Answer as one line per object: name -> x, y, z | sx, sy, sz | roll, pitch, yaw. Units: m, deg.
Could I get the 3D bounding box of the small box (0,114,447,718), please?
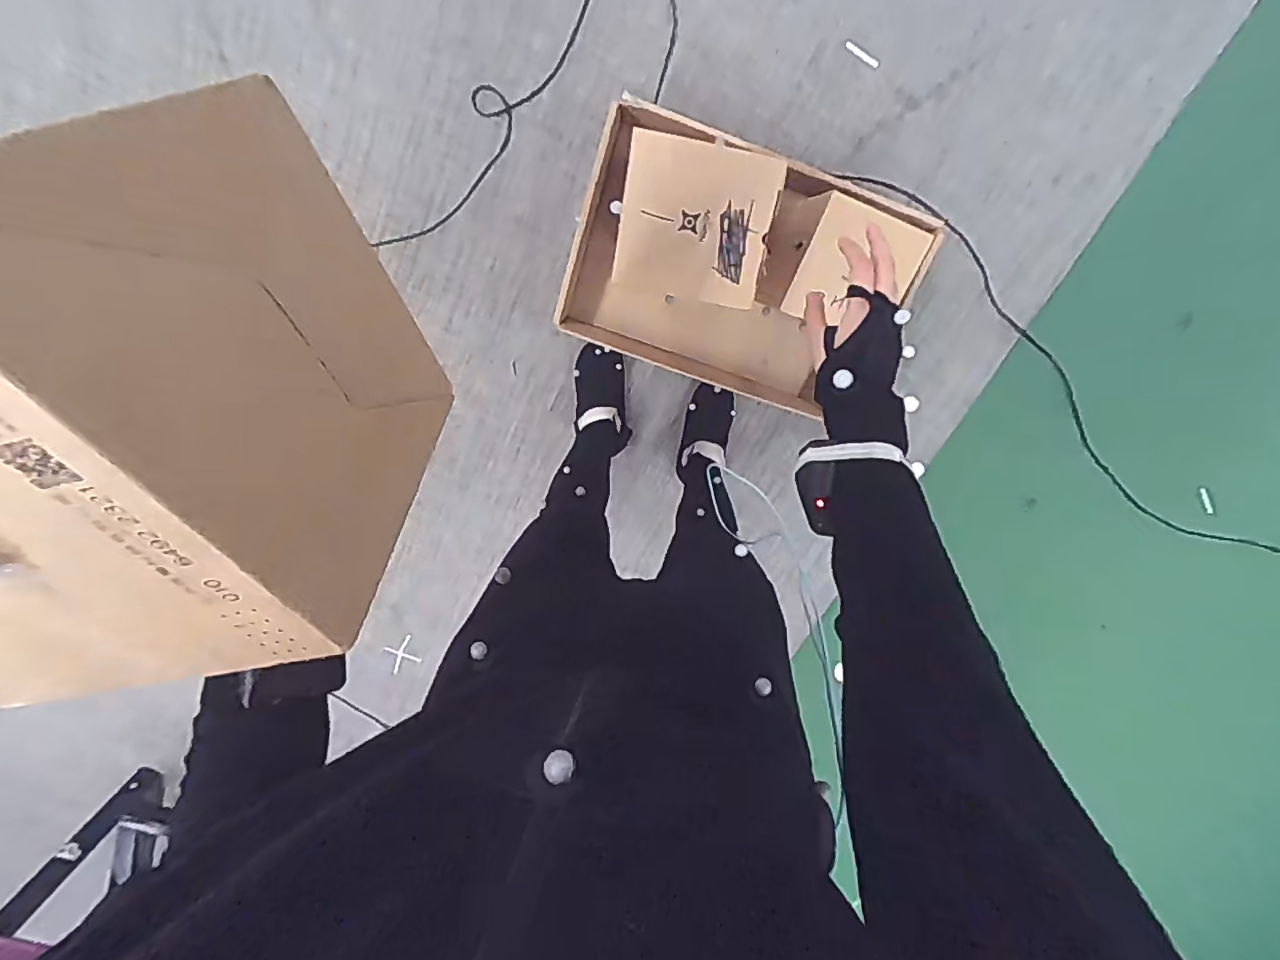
small box -> -0.211, -0.027, 0.230 | 0.176, 0.179, 0.168 | -12, 132, 9

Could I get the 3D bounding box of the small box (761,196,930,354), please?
small box -> 0.311, -0.326, 0.867 | 0.168, 0.176, 0.179 | 20, 112, -7

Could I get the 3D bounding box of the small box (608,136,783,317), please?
small box -> 0.059, -0.319, 0.696 | 0.179, 0.176, 0.168 | 9, 113, -5
